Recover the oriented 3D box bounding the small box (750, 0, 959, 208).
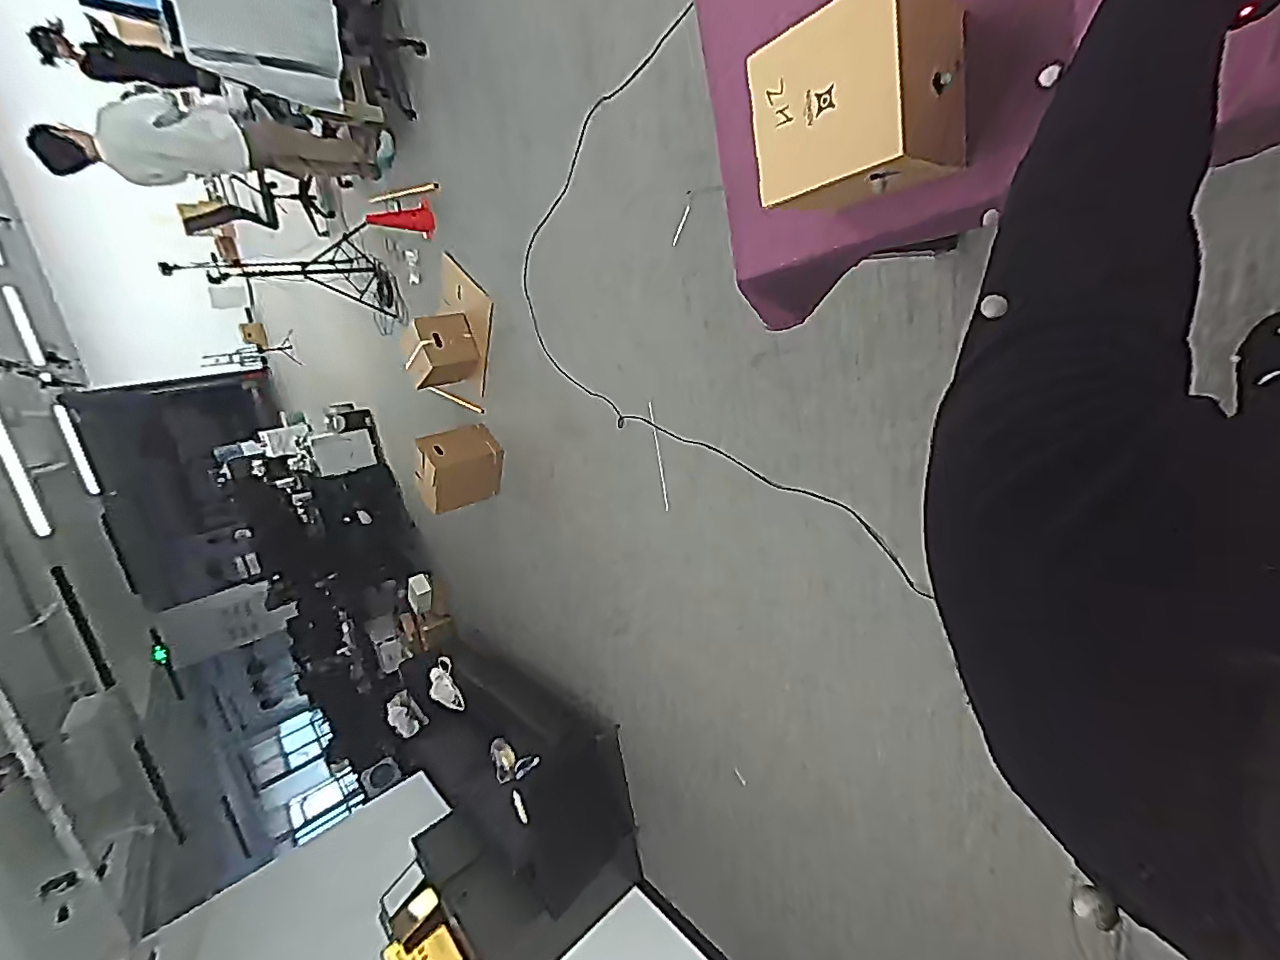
[{"bbox_3d":[0.258,-0.435,0.640,0.179,0.176,0.168,7,111,50],"label":"small box"}]
